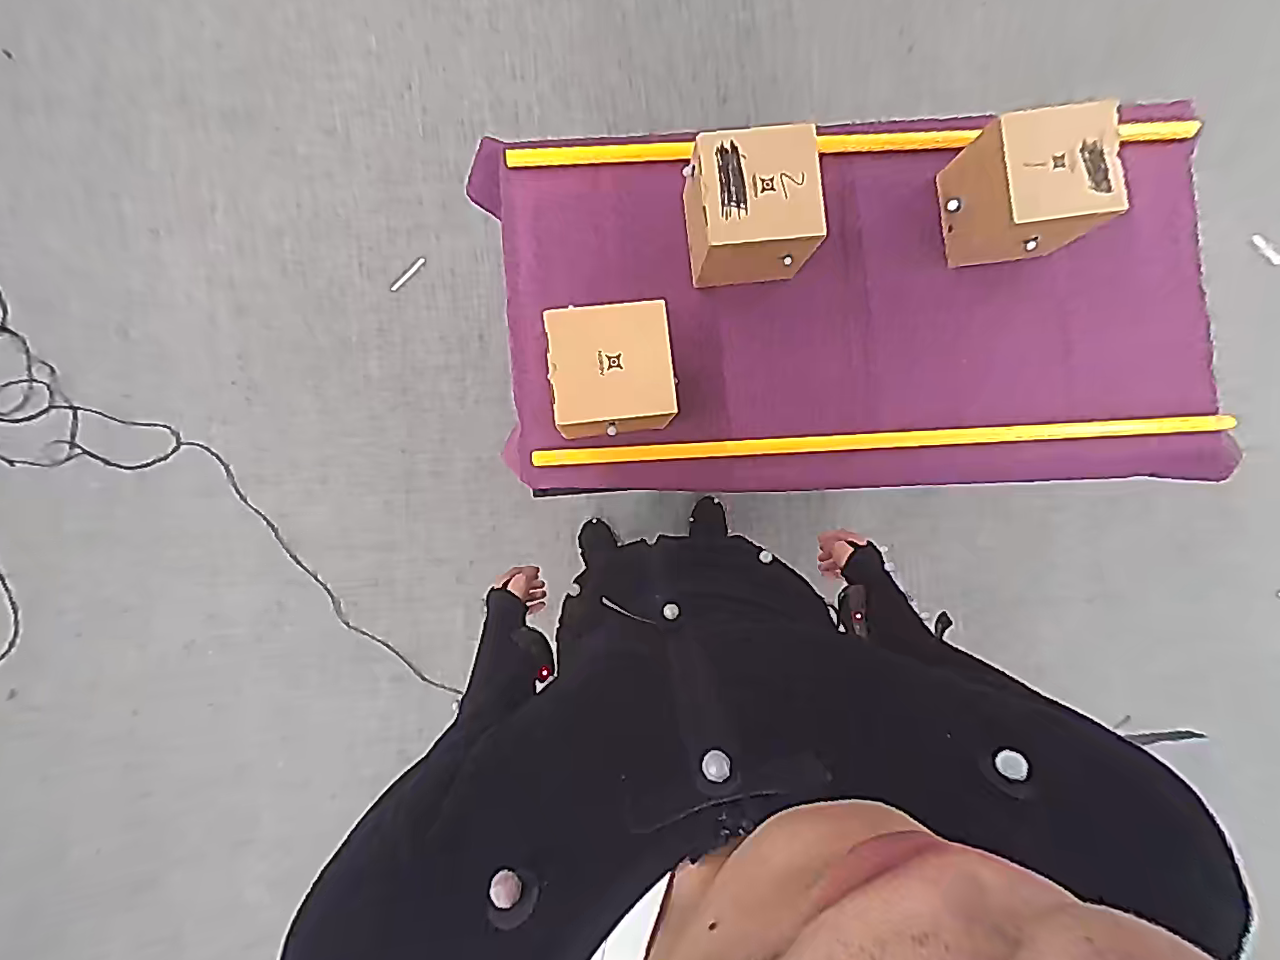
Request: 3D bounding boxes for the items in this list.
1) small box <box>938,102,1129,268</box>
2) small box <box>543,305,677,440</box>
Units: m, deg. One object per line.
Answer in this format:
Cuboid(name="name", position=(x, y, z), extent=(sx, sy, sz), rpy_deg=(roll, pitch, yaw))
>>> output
Cuboid(name="small box", position=(0.612, -0.456, 0.860), extent=(0.179, 0.176, 0.168), rpy_deg=(-8, 90, 0))
Cuboid(name="small box", position=(-0.046, -0.157, 0.836), extent=(0.179, 0.176, 0.168), rpy_deg=(-7, 88, -2))
